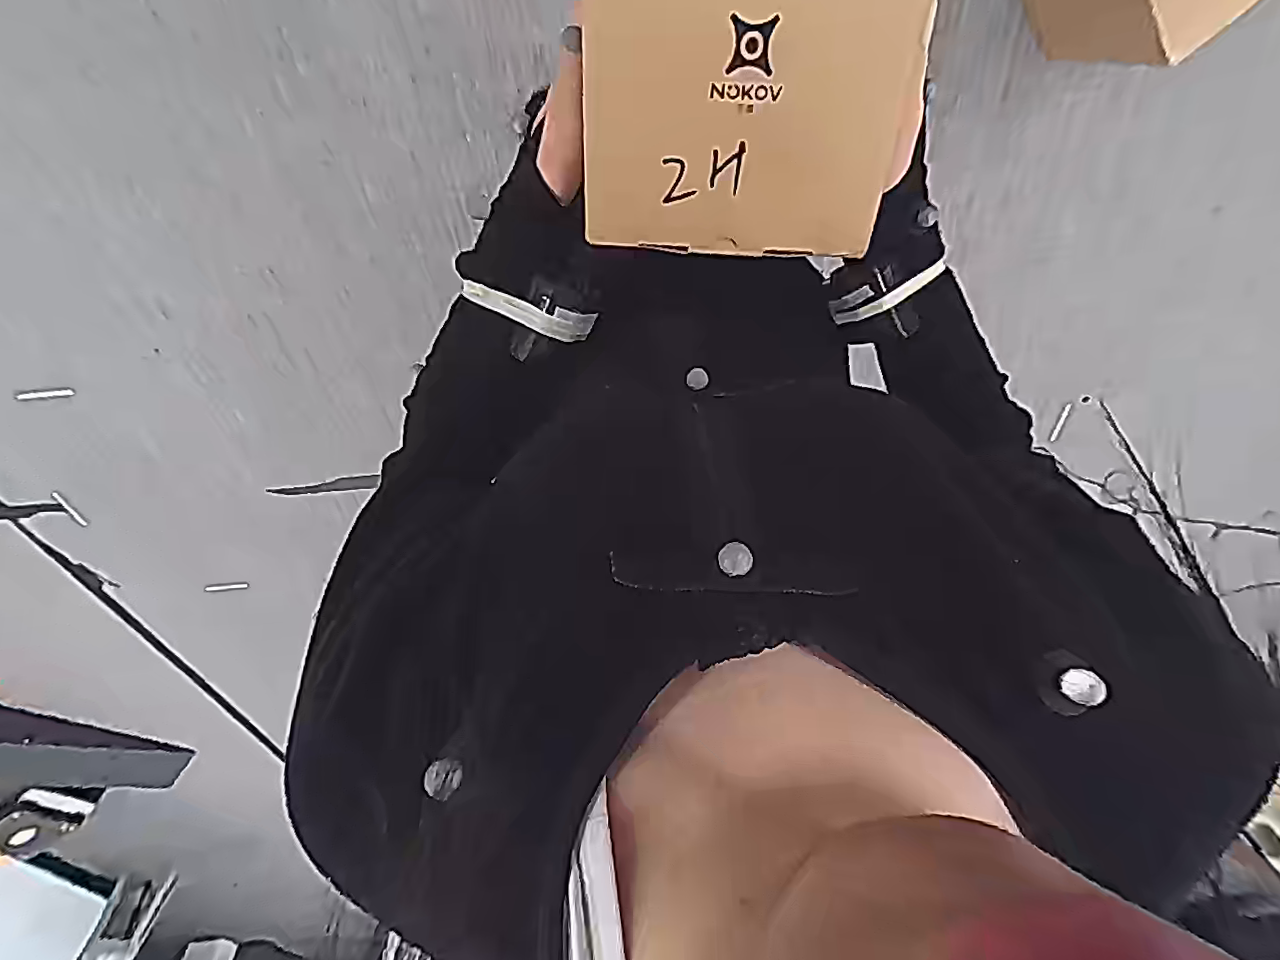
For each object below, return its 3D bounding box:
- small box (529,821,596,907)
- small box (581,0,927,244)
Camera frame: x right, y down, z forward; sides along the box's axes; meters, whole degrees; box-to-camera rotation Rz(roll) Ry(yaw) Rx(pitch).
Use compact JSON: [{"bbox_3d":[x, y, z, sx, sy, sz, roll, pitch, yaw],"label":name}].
[{"bbox_3d":[-0.223,1.131,1.597,0.179,0.176,0.168,-3,128,0],"label":"small box"},{"bbox_3d":[0.055,-0.256,0.330,0.168,0.176,0.179,3,124,1],"label":"small box"}]
